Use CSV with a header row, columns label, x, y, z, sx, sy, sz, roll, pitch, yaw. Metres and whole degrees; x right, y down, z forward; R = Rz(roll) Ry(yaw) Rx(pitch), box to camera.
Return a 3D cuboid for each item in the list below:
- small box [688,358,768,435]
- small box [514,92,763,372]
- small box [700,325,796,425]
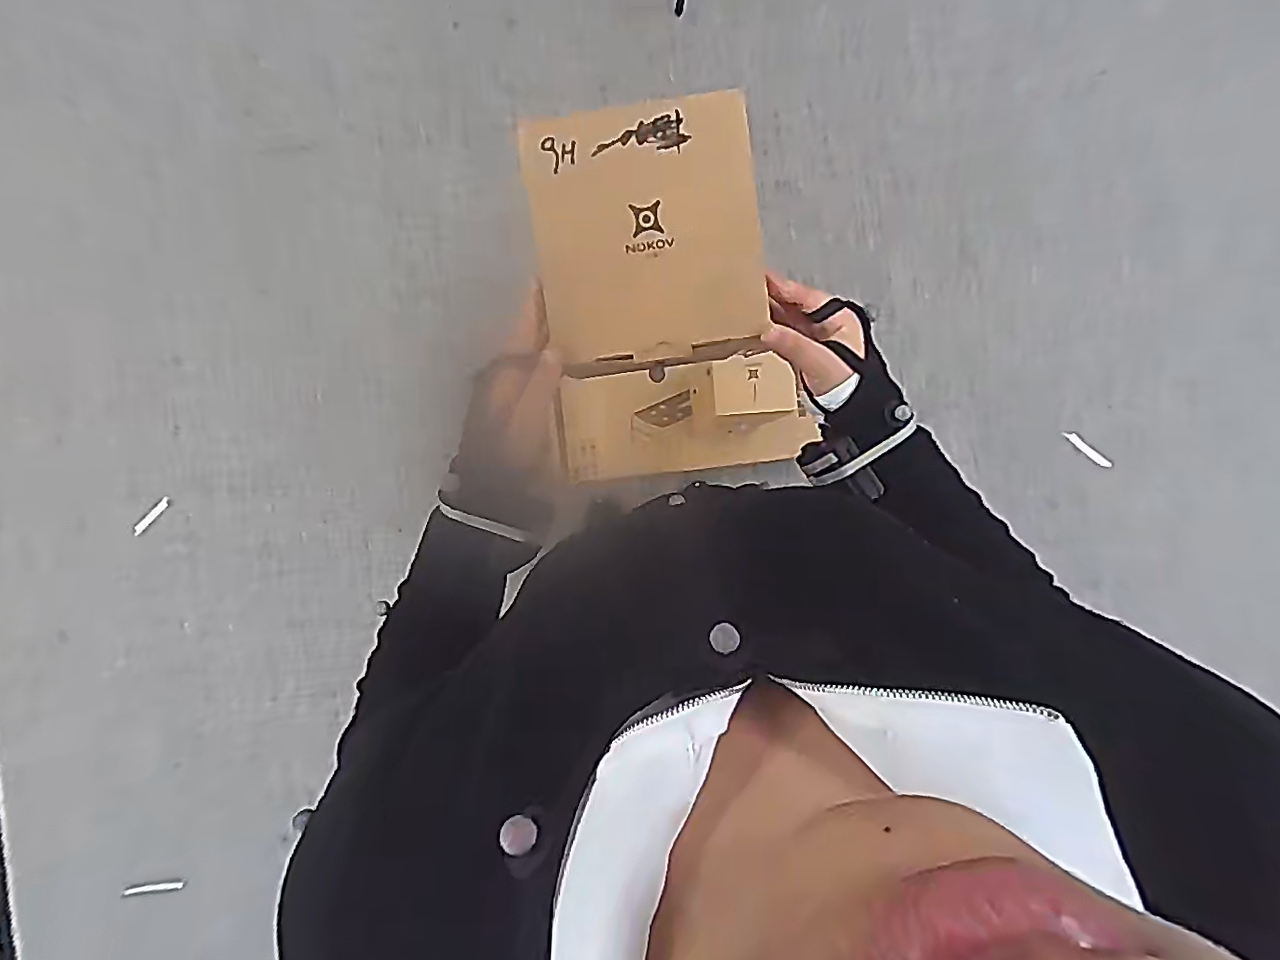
label,x,y,z,sx,sy,sz,roll,pitch,yaw
small box,0.214,-0.213,1.324,0.168,0.176,0.179,-8,89,0
small box,0.001,-0.192,0.474,0.168,0.176,0.179,-8,99,0
small box,0.224,-0.219,1.160,0.168,0.176,0.179,-4,89,0
